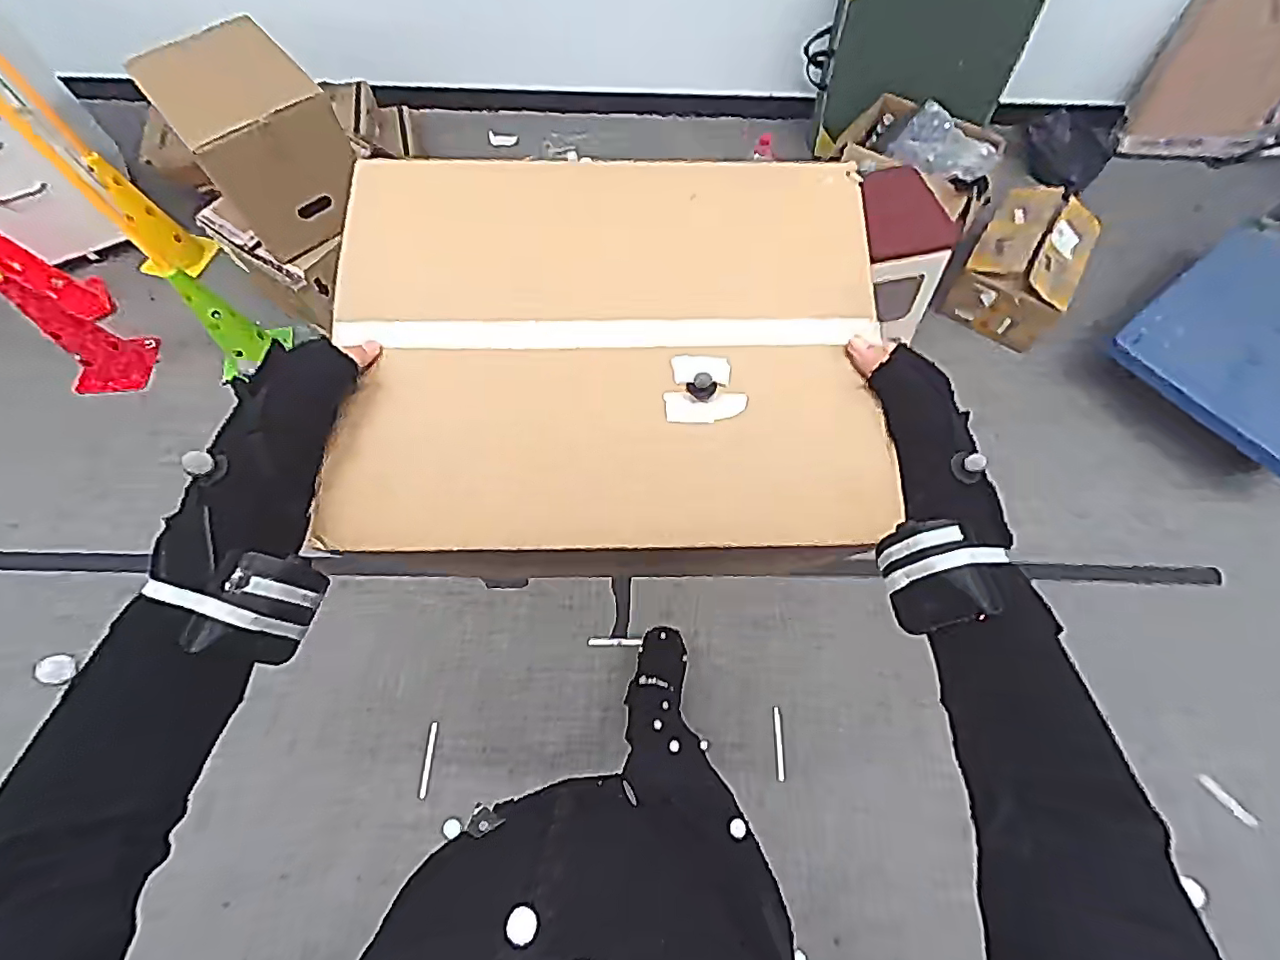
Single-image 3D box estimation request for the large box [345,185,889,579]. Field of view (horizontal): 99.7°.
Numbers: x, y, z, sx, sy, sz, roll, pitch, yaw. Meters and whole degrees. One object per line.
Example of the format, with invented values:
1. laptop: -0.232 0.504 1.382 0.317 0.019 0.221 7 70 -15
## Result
1. large box: -0.023 -0.068 0.570 0.408 0.320 0.320 -1 76 -2
